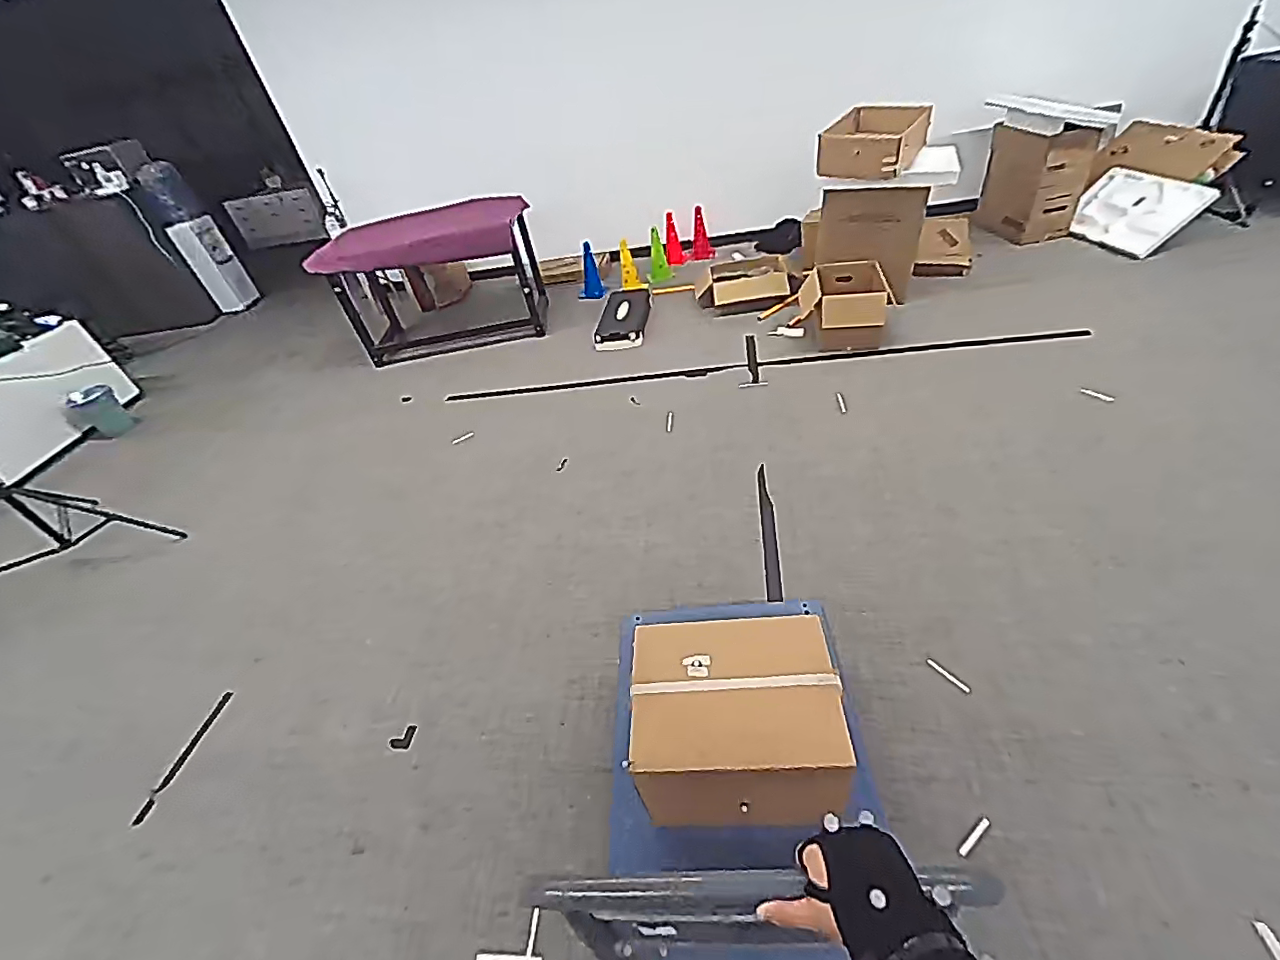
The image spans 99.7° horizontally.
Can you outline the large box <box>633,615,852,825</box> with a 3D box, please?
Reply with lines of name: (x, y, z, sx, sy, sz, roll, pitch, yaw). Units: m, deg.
large box: (0.212, 0.530, 1.187, 0.408, 0.320, 0.320, -8, 40, 8)
